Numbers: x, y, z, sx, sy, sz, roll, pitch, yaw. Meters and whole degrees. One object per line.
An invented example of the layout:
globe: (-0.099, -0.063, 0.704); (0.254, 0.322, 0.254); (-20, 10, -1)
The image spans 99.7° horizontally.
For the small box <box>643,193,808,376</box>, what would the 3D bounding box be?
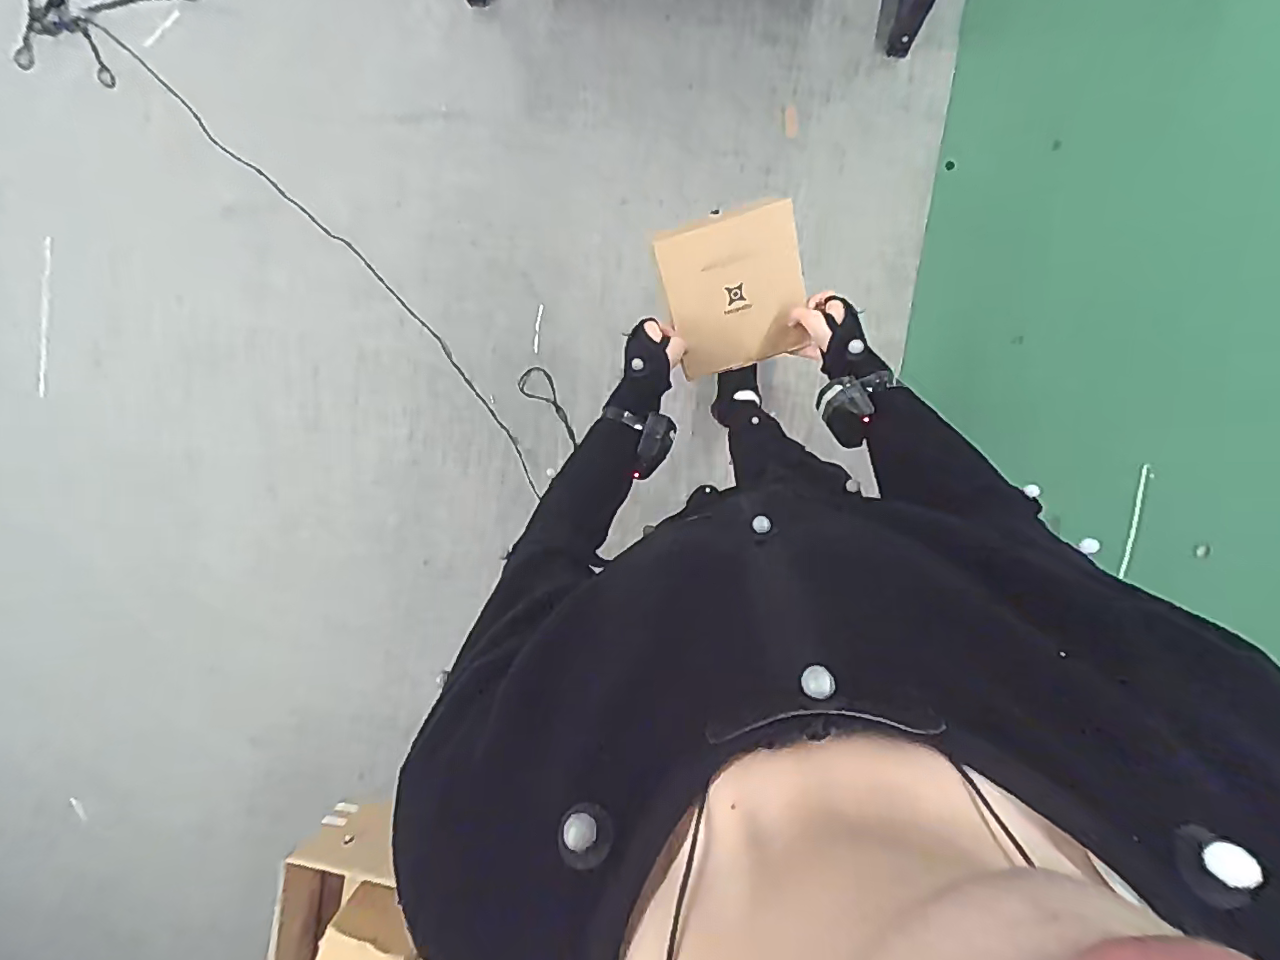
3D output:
small box: (0.107, -0.264, 0.715); (0.168, 0.176, 0.179); (-16, 118, 4)
